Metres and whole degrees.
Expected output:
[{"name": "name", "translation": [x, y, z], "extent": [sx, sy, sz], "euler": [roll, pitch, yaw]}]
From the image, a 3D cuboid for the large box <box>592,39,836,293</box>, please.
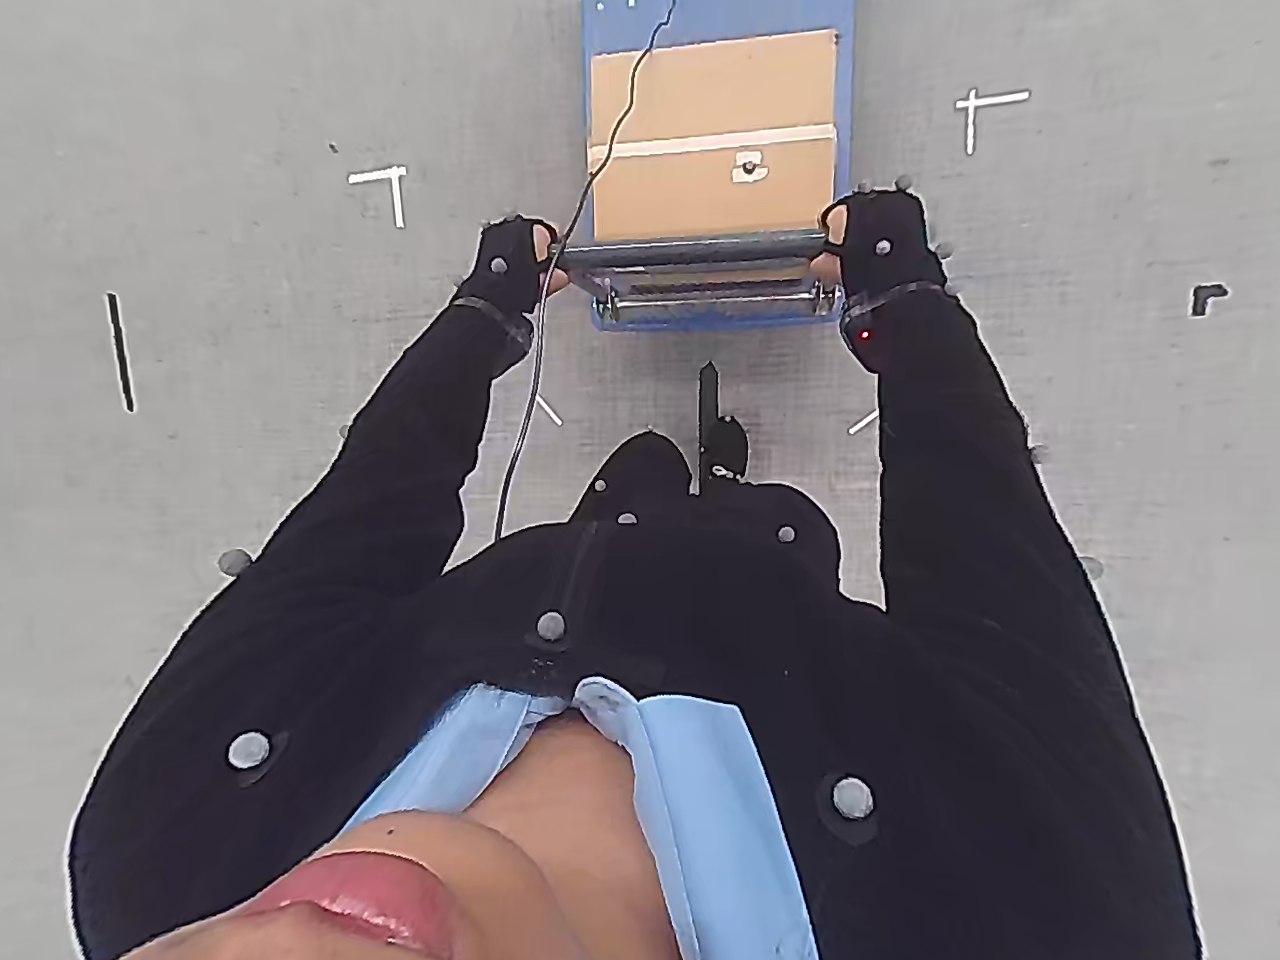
[{"name": "large box", "translation": [0.136, -0.563, 1.047], "extent": [0.408, 0.320, 0.320], "euler": [0, 97, 8]}]
